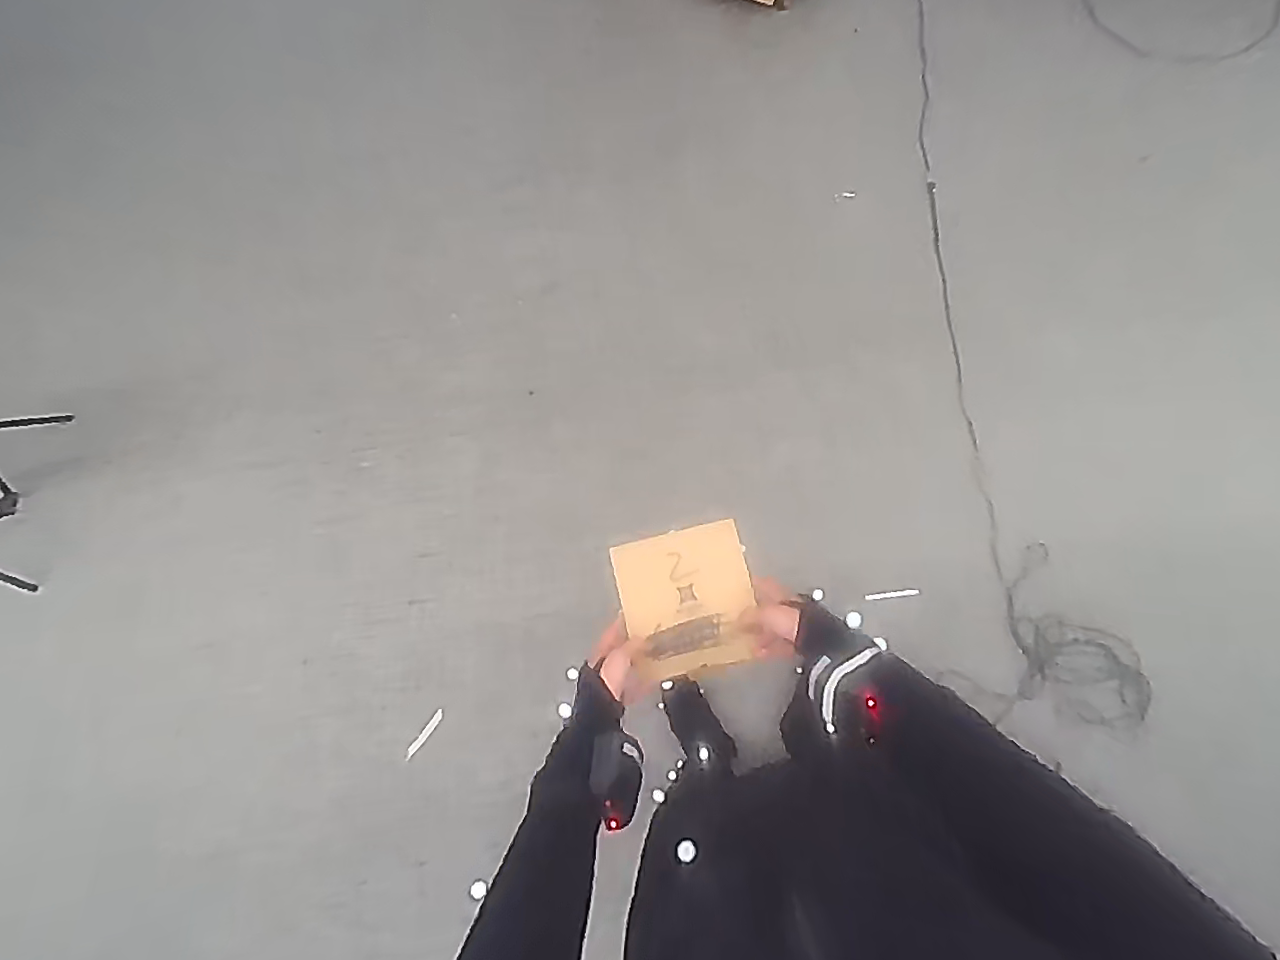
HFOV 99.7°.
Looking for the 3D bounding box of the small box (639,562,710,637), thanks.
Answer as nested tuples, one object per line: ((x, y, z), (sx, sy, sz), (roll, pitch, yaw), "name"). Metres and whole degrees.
((0.092, 0.313, 1.409), (0.168, 0.176, 0.179), (-6, 76, 8), "small box")
